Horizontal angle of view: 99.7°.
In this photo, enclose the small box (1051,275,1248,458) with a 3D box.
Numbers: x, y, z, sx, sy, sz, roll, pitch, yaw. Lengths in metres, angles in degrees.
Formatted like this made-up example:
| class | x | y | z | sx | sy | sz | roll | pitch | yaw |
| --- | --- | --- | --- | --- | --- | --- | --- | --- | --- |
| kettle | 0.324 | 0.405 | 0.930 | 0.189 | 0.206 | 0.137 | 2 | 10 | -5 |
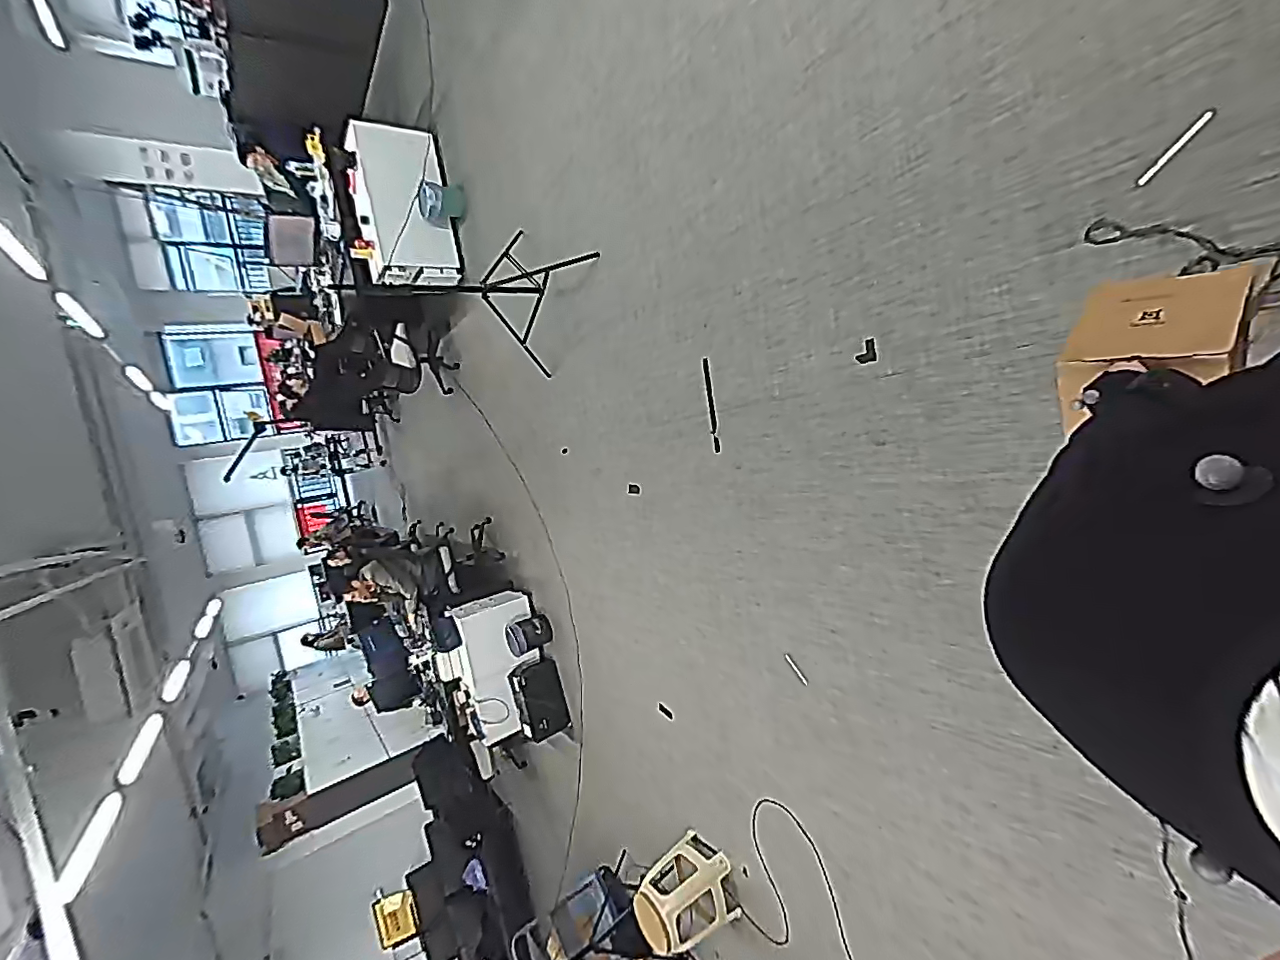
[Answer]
| class | x | y | z | sx | sy | sz | roll | pitch | yaw |
| --- | --- | --- | --- | --- | --- | --- | --- | --- | --- |
| small box | 0.700 | -0.149 | 0.747 | 0.168 | 0.179 | 0.176 | 11 | 143 | 49 |
